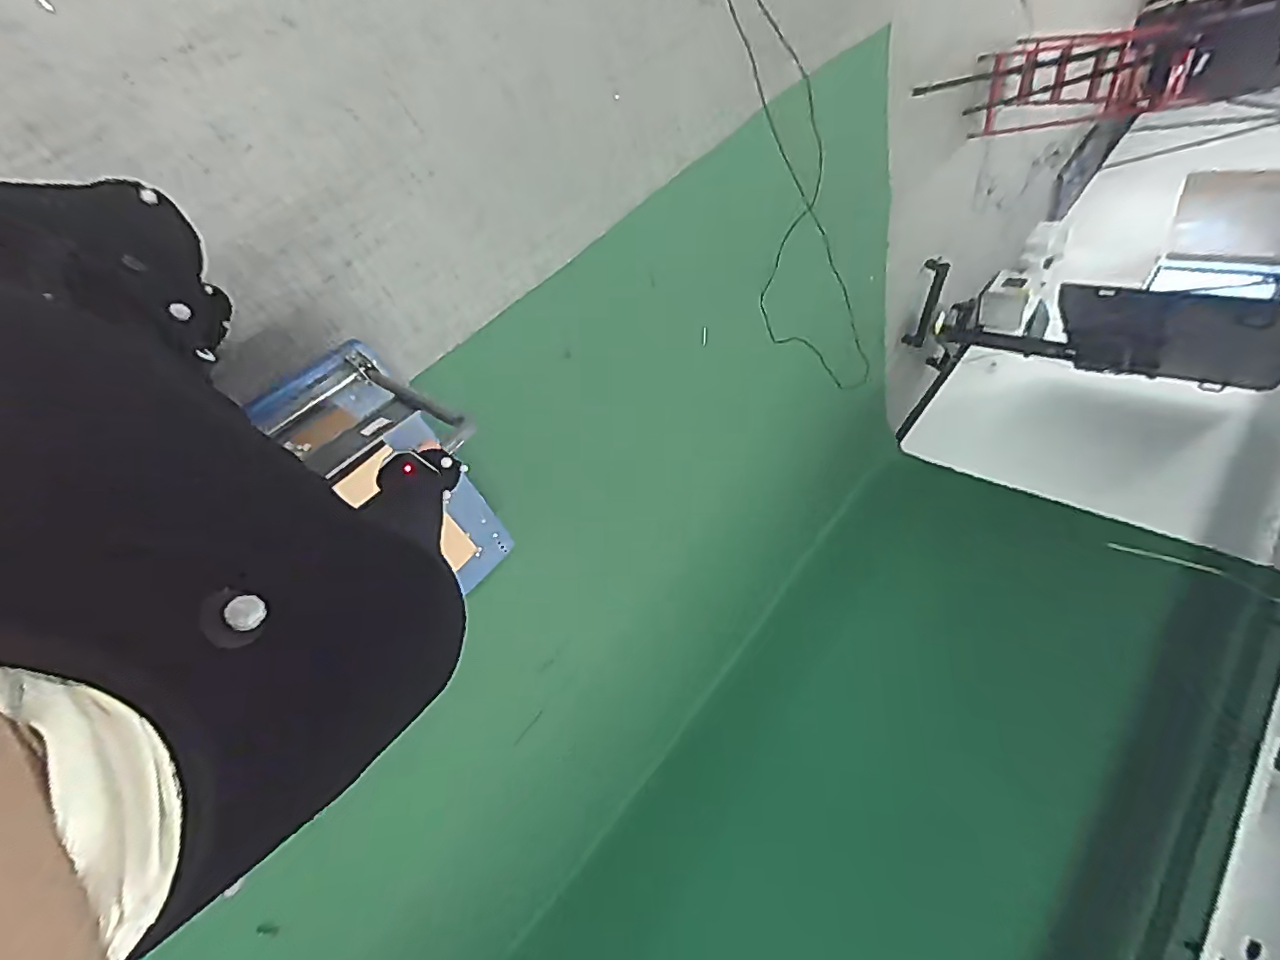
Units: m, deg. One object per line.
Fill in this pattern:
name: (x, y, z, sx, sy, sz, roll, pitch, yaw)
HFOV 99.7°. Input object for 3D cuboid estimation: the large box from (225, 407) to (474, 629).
large box: (-0.703, 0.091, 1.344, 0.320, 0.320, 0.408, -45, 138, -21)
